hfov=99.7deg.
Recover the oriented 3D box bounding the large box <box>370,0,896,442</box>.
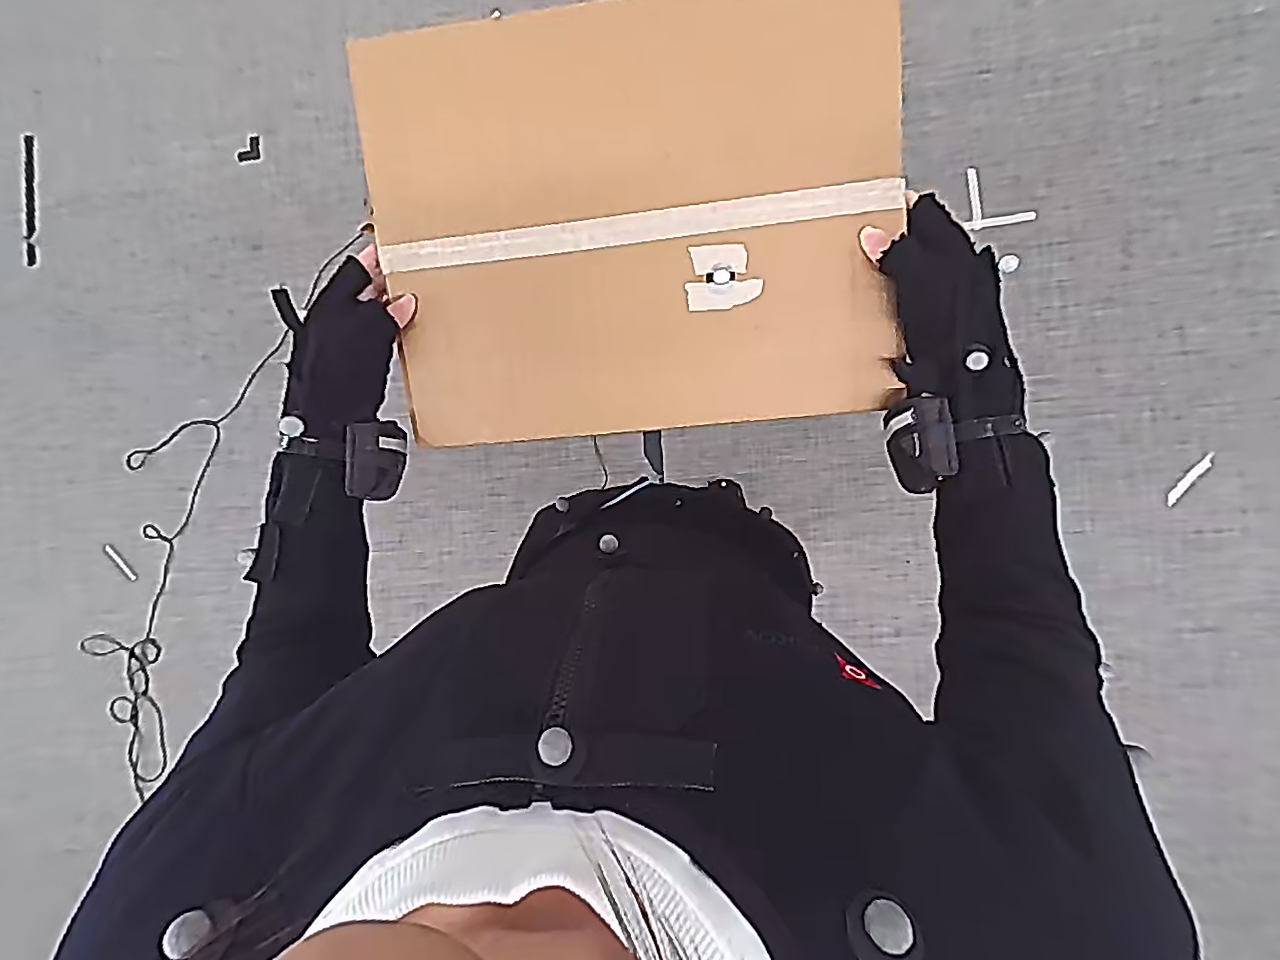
[{"bbox_3d":[0.007,-0.228,0.579,0.408,0.320,0.320,-5,101,6],"label":"large box"}]
